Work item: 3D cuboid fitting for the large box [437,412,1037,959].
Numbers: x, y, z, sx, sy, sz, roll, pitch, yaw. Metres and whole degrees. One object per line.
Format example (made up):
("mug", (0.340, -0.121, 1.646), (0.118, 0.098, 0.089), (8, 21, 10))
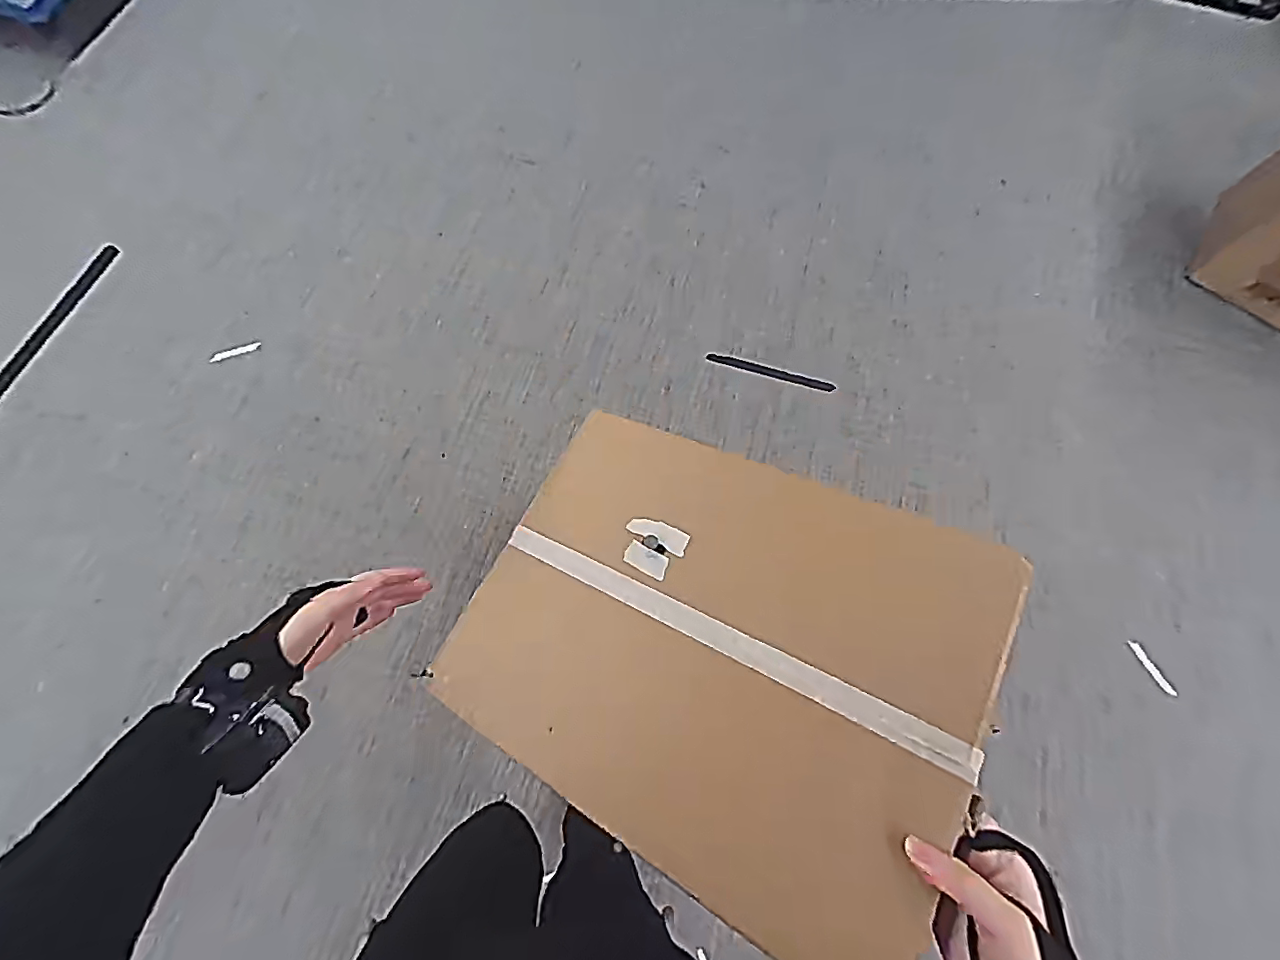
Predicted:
("large box", (0.097, 0.182, 0.558), (0.408, 0.320, 0.320), (21, 70, 28))
